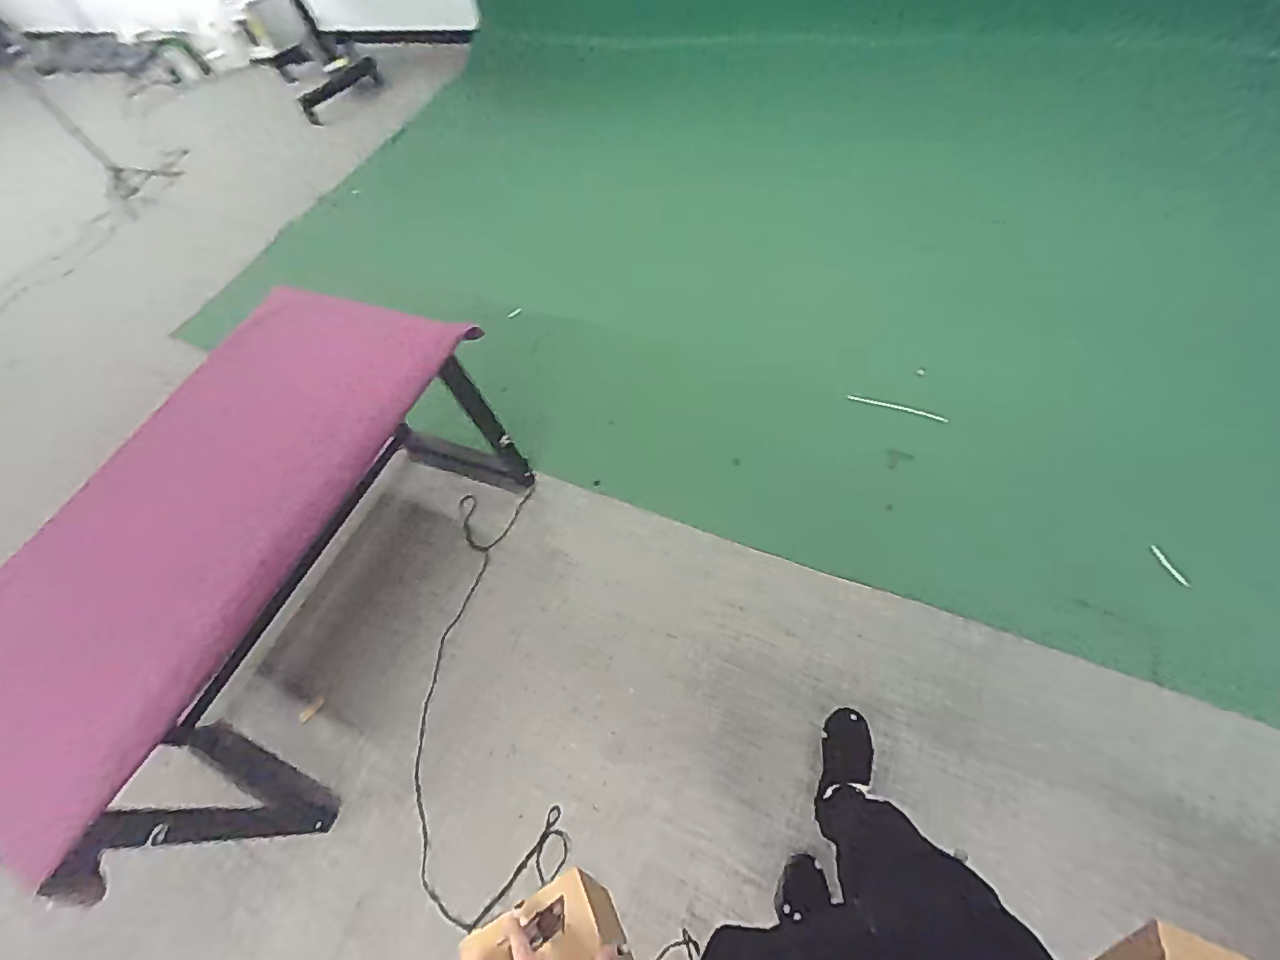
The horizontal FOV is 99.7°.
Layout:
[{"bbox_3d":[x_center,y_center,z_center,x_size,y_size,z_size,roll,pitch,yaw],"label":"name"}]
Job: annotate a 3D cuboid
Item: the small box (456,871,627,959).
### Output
[{"bbox_3d":[-0.105,0.647,0.680,0.168,0.176,0.179,-28,44,-12],"label":"small box"}]
